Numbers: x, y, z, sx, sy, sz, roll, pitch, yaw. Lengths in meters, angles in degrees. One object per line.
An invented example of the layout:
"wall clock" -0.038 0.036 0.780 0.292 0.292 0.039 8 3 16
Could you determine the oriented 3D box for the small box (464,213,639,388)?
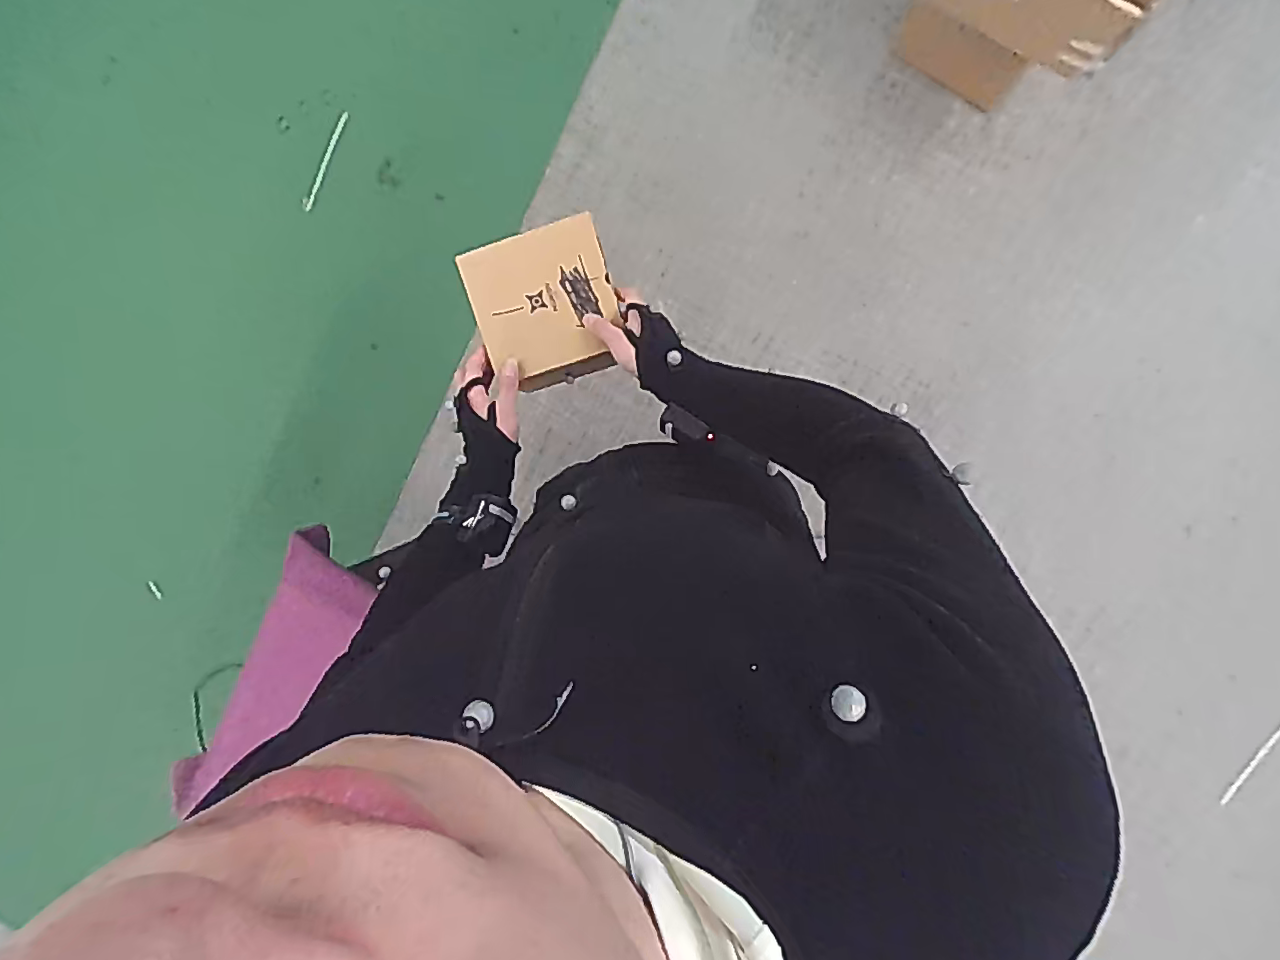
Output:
"small box" -0.106 -0.226 0.727 0.179 0.176 0.168 -16 96 3
